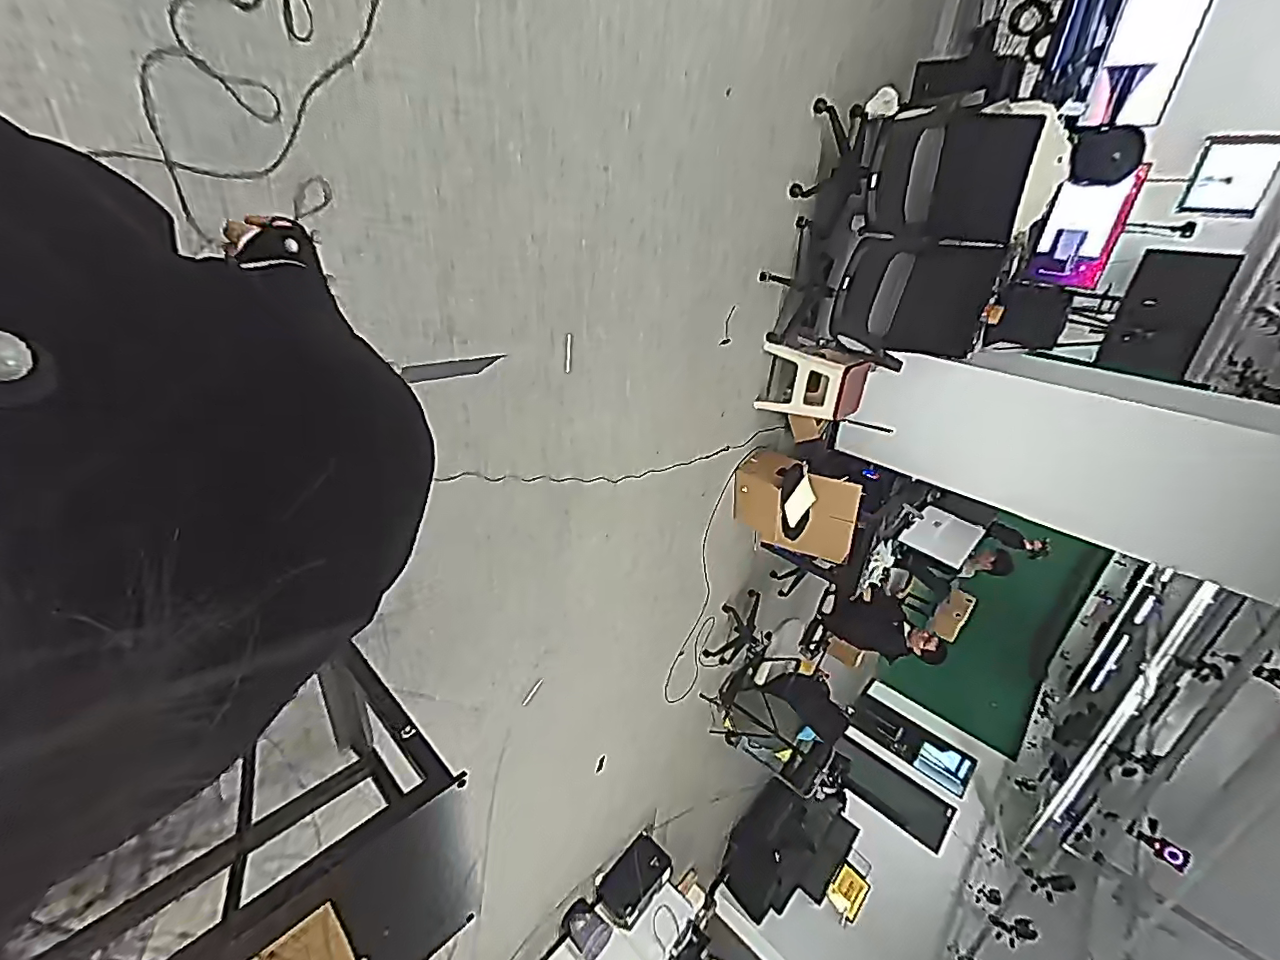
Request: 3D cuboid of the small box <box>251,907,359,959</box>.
[{"bbox_3d":[-0.626,0.963,1.017,0.168,0.176,0.179,-23,128,-42],"label":"small box"}]
